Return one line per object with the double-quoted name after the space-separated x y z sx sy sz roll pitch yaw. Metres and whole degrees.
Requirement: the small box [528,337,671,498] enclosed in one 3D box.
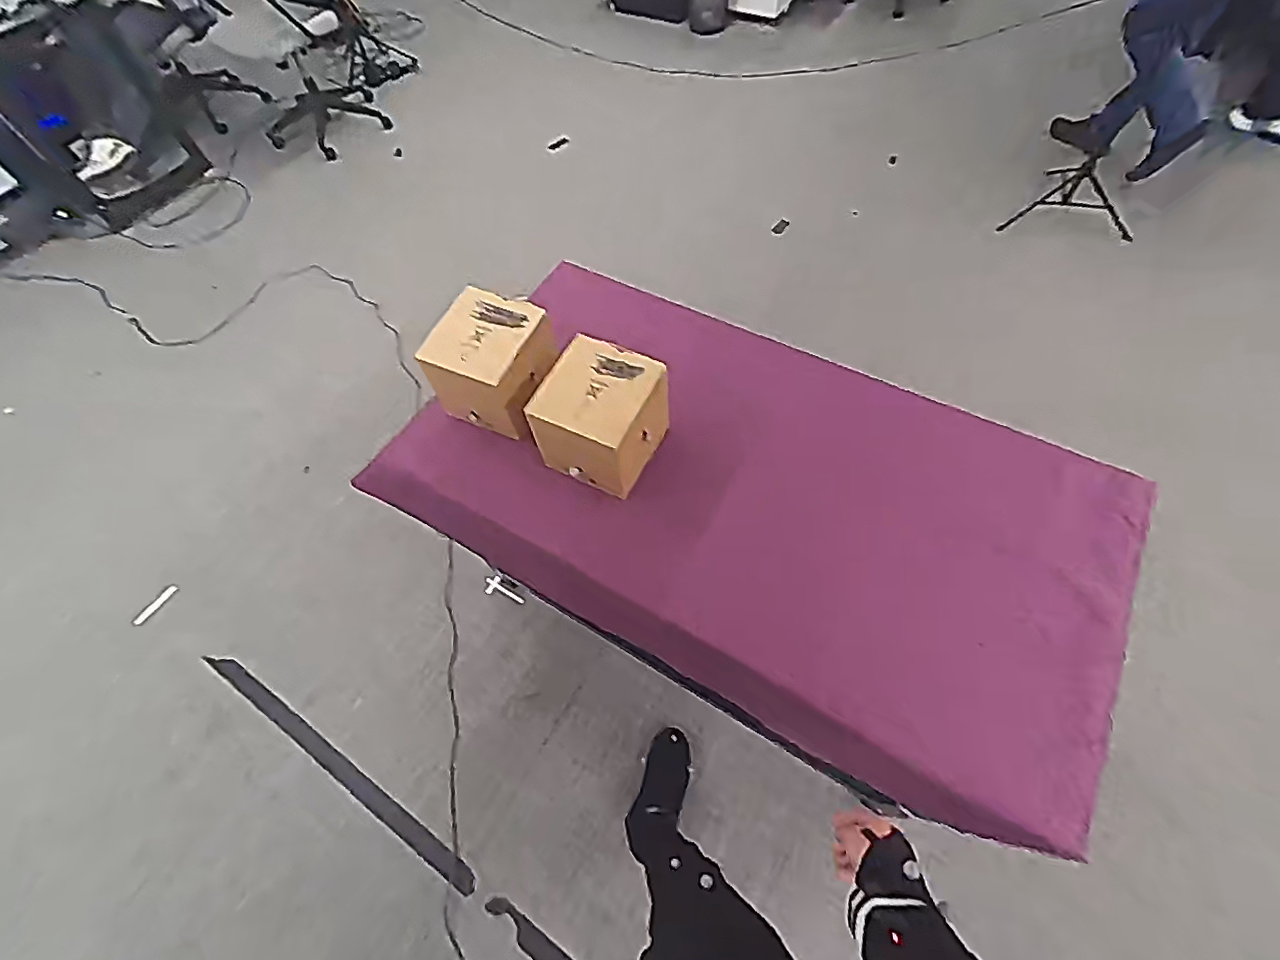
-0.059 -0.101 0.909 0.168 0.176 0.179 23 65 16 "small box"
